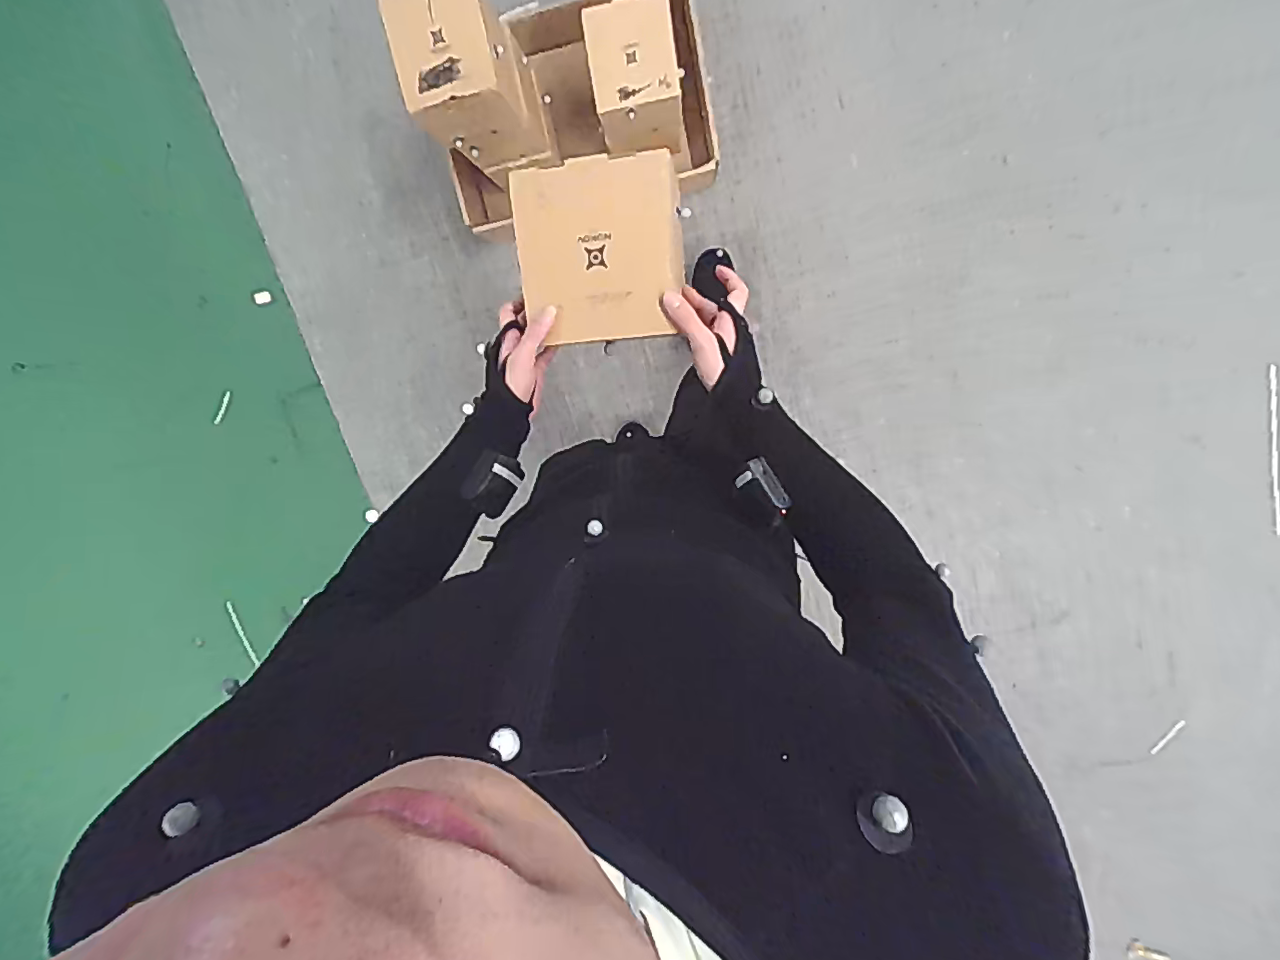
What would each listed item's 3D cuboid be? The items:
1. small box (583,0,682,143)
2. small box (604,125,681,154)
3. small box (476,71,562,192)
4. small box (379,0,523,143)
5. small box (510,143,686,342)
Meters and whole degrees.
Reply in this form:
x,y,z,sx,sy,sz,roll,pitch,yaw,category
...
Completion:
x,y,z,sx,sy,sz,roll,pitch,yaw,category
-0.008,-0.816,1.085,0.168,0.176,0.179,-8,103,7,small box
-0.001,-0.858,1.243,0.168,0.176,0.179,-10,104,8,small box
-0.286,-0.813,1.280,0.168,0.176,0.179,-10,102,8,small box
-0.323,-0.732,0.964,0.168,0.176,0.179,-10,101,7,small box
-0.035,-0.256,0.626,0.168,0.176,0.179,-3,104,9,small box
